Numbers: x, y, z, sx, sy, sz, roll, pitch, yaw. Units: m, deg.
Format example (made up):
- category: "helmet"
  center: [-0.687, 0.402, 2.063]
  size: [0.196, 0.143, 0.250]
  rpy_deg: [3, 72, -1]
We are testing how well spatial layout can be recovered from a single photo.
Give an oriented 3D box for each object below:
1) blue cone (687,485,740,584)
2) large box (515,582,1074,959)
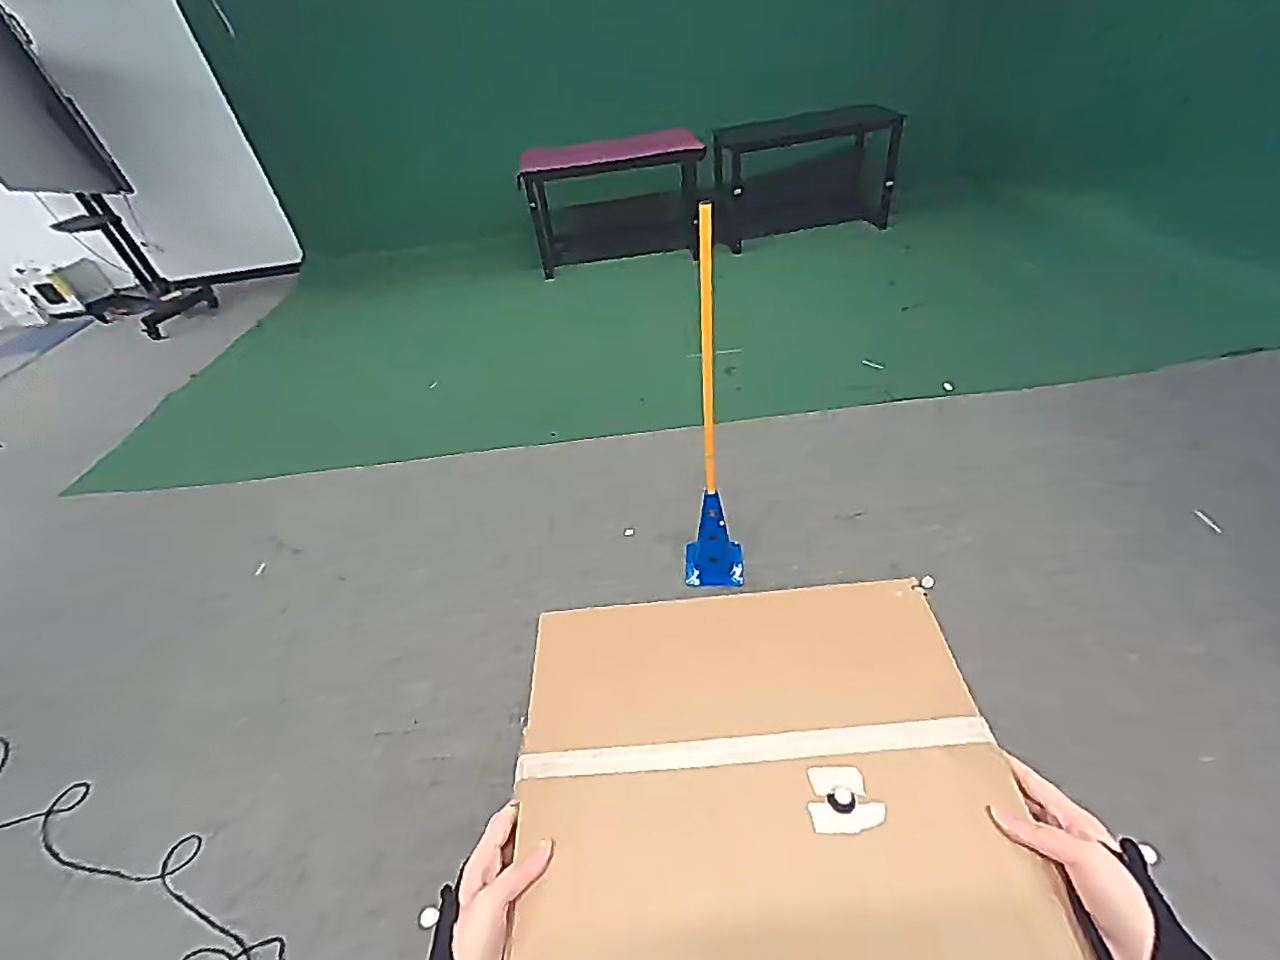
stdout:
- category: "blue cone"
  center: [0.244, 0.172, 1.830]
  size: [0.193, 0.380, 0.192]
  rpy_deg: [-1, 41, 9]
- category: "large box"
  center: [0.111, 0.342, 0.586]
  size: [0.408, 0.320, 0.320]
  rpy_deg: [-6, 46, 3]
